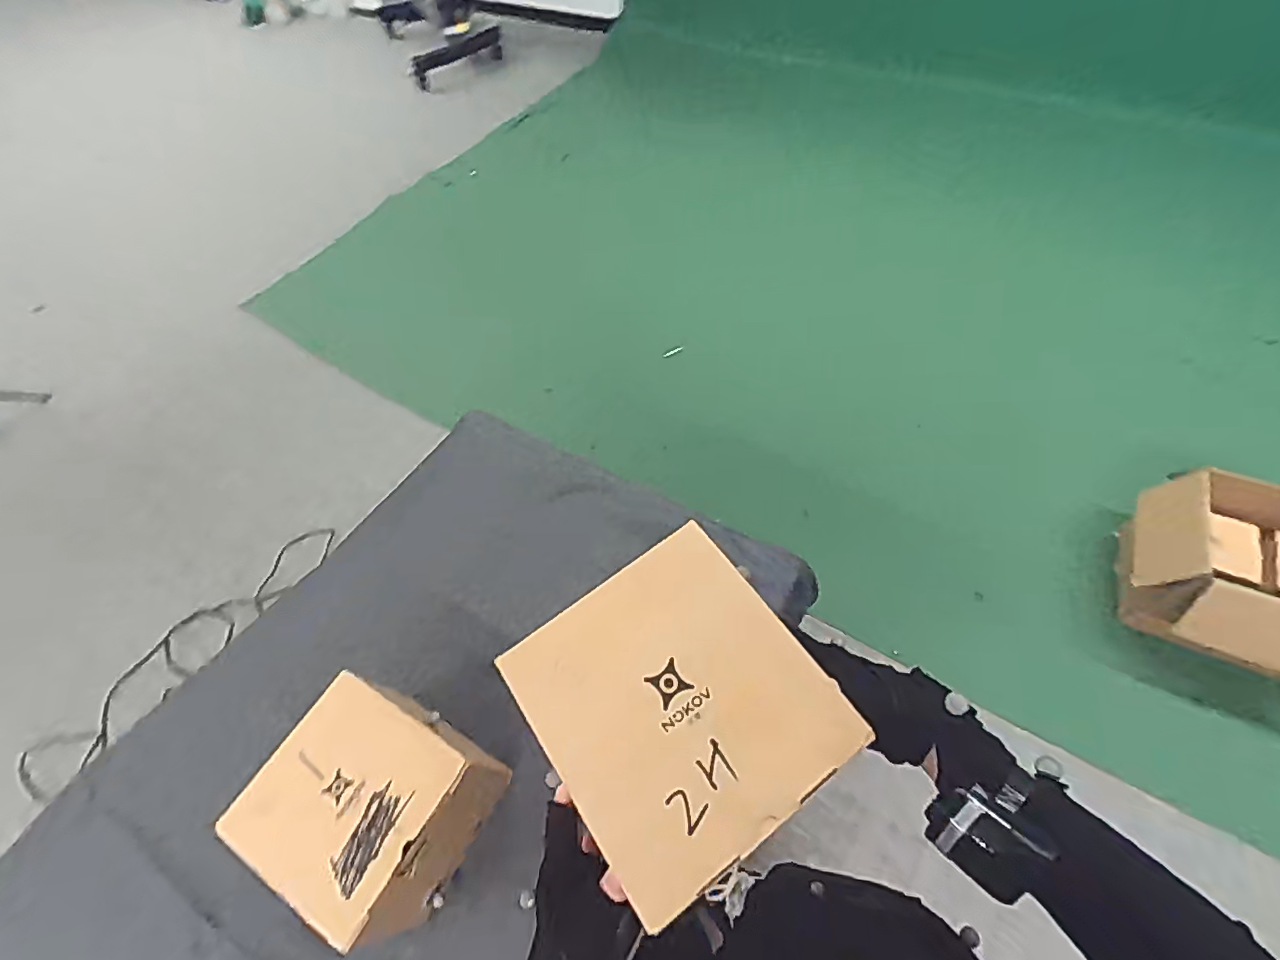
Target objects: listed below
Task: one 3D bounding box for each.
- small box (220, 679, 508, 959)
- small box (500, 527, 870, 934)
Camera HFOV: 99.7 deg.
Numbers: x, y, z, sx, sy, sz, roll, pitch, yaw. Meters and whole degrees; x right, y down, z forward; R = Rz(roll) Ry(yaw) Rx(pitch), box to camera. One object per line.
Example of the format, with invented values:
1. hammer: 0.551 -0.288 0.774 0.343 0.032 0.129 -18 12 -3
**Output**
1. small box: -0.268 0.342 0.571 0.179 0.176 0.168 24 62 20
2. small box: 0.026 0.172 0.403 0.168 0.176 0.179 -34 66 -11
